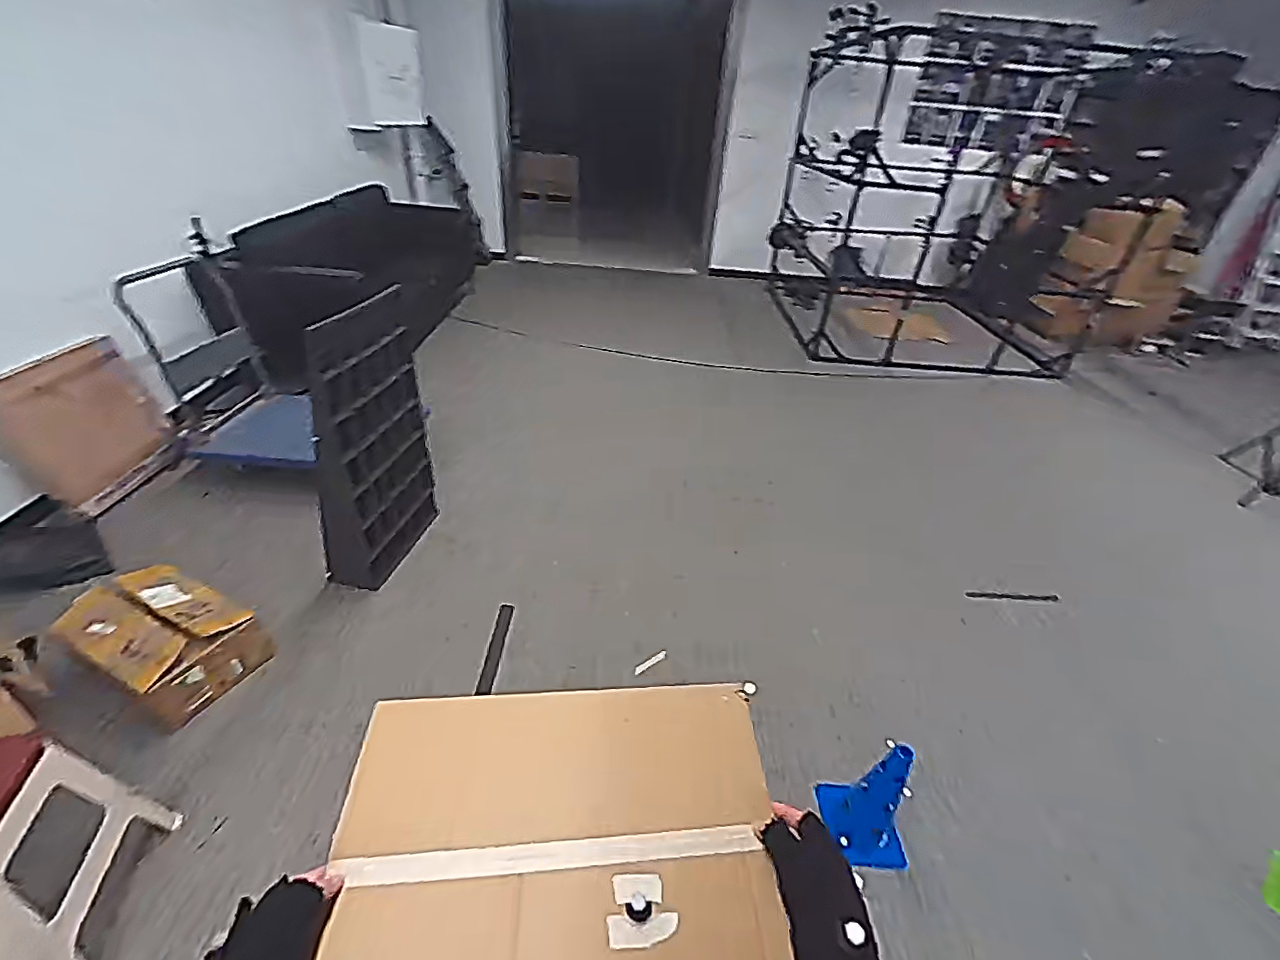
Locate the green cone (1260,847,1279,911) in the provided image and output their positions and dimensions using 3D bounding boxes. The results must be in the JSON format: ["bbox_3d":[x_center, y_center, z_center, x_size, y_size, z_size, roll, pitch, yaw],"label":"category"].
[{"bbox_3d":[1.705,0.918,1.252,0.200,0.368,0.202,-19,40,-32],"label":"green cone"}]

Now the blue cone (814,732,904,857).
[{"bbox_3d":[0.588,0.767,1.361,0.193,0.380,0.192,6,33,1],"label":"blue cone"}]

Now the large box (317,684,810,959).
[{"bbox_3d":[-0.073,0.450,0.590,0.408,0.320,0.320,1,40,-5],"label":"large box"}]
